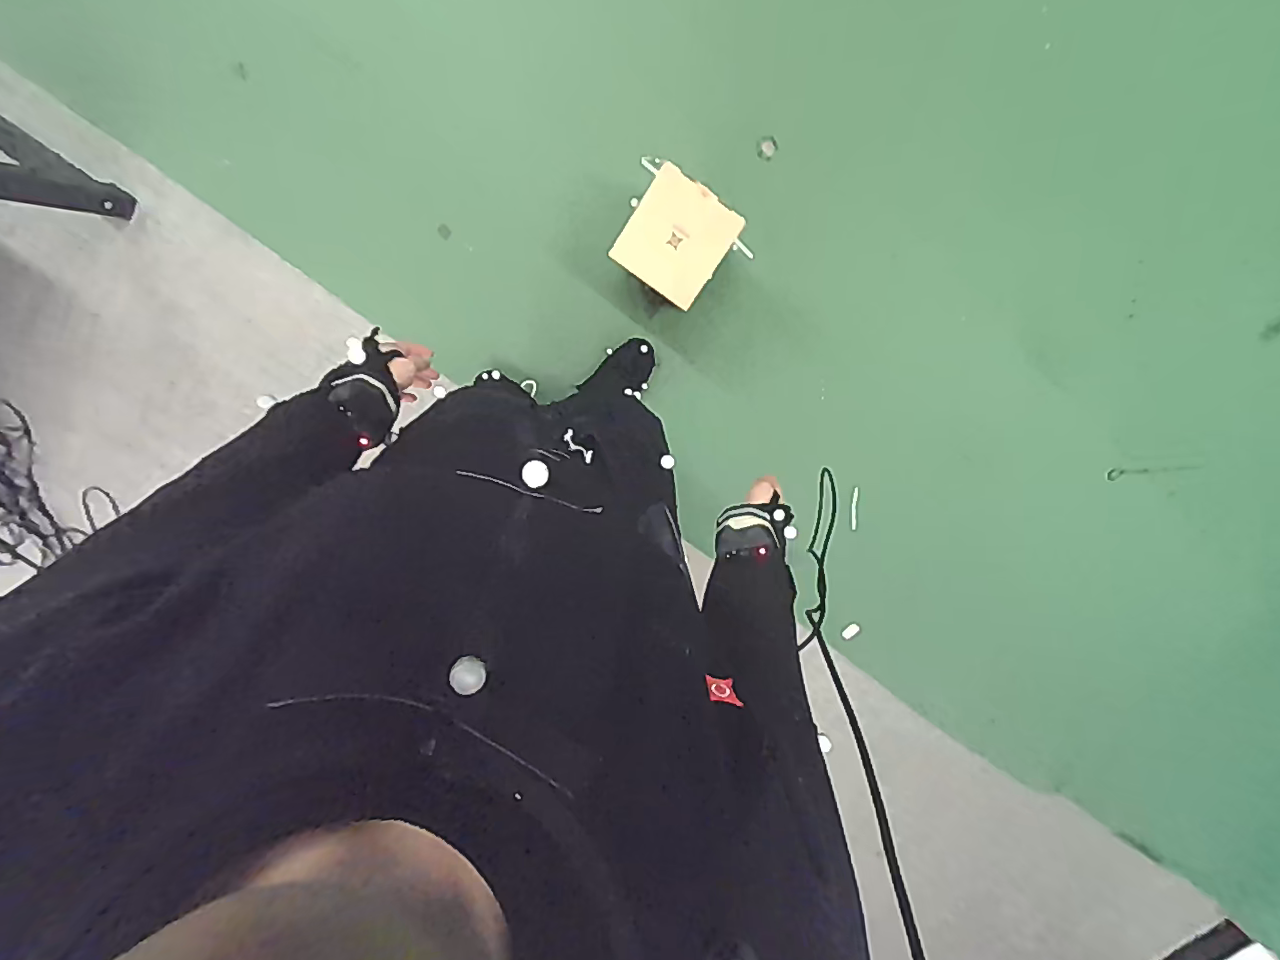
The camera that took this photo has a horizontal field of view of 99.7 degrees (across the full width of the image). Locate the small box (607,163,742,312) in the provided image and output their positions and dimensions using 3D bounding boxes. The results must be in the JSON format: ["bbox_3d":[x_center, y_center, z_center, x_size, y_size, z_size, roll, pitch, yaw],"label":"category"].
[{"bbox_3d":[0.061,-0.426,0.981,0.168,0.176,0.179,33,106,-9],"label":"small box"}]
